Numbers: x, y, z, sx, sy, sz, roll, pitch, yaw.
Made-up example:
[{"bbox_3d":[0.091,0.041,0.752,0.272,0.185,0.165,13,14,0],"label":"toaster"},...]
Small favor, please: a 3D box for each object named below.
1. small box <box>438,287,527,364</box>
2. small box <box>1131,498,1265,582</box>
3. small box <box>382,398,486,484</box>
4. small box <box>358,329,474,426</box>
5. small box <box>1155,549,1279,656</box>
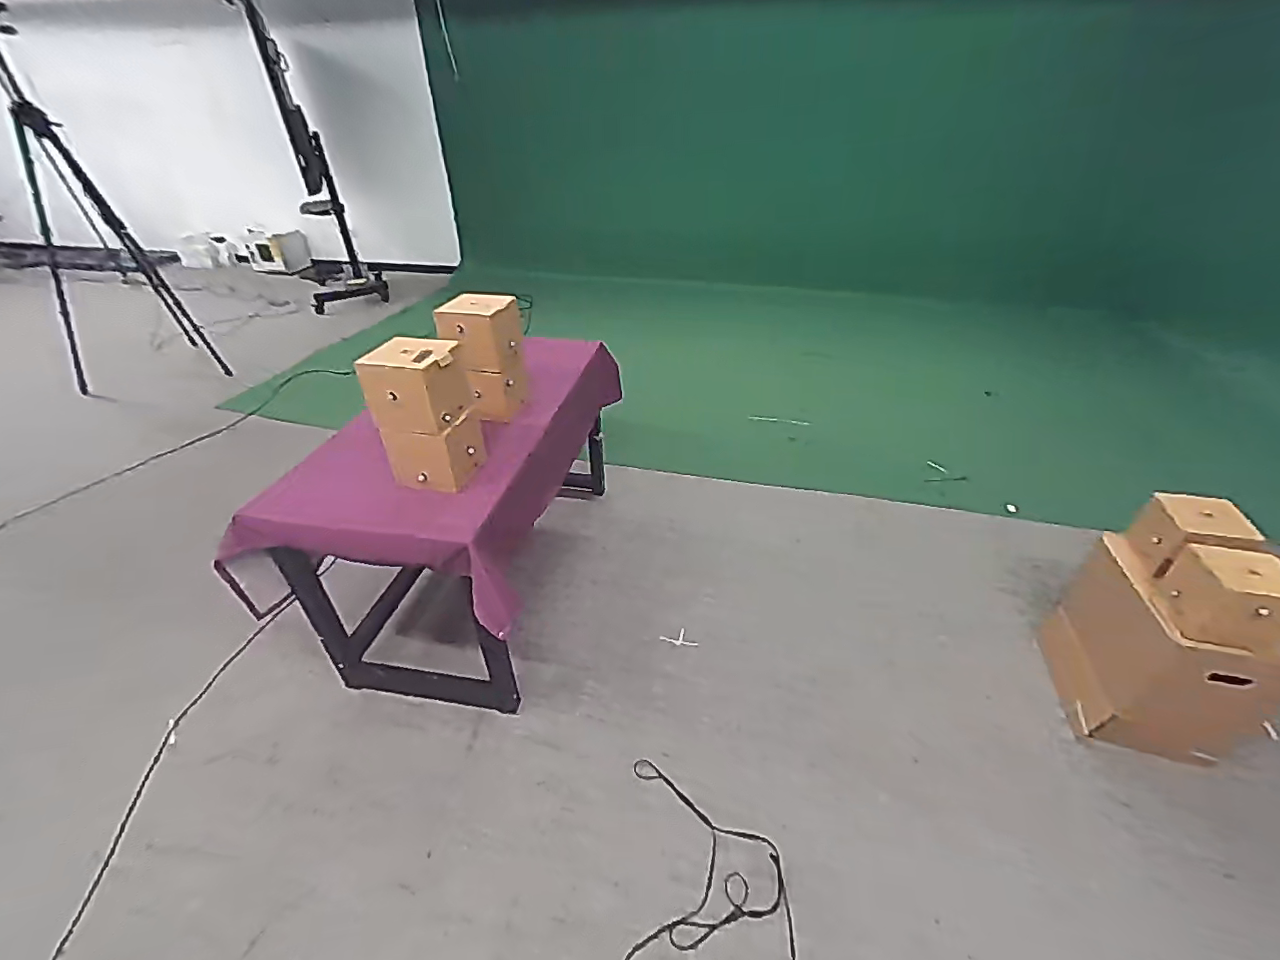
[{"bbox_3d":[-0.447,-0.446,1.561,0.179,0.176,0.168,9,38,13],"label":"small box"},{"bbox_3d":[1.486,0.173,1.461,0.179,0.176,0.168,8,39,13],"label":"small box"},{"bbox_3d":[-0.512,-0.107,1.378,0.179,0.176,0.168,8,36,11],"label":"small box"},{"bbox_3d":[-0.520,-0.243,1.284,0.179,0.176,0.168,7,36,12],"label":"small box"},{"bbox_3d":[1.408,0.295,1.291,0.179,0.176,0.168,9,36,13],"label":"small box"}]
